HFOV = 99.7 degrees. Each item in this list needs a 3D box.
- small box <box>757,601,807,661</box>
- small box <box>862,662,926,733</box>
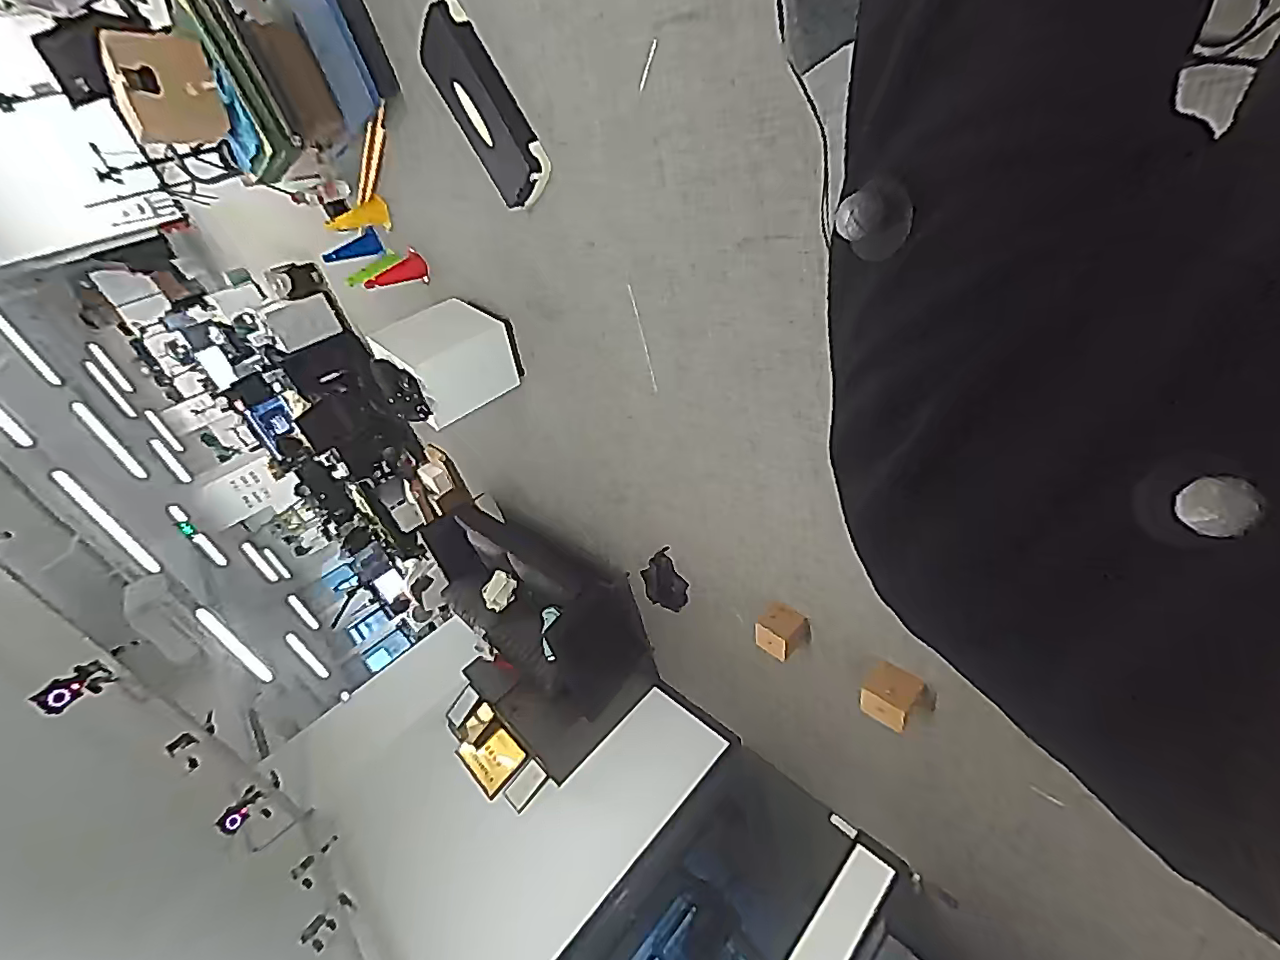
[{"bbox_3d":[0.665,0.700,2.525,0.168,0.176,0.179,29,144,39],"label":"small box"},{"bbox_3d":[1.021,0.866,2.179,0.179,0.176,0.168,24,140,41],"label":"small box"}]
